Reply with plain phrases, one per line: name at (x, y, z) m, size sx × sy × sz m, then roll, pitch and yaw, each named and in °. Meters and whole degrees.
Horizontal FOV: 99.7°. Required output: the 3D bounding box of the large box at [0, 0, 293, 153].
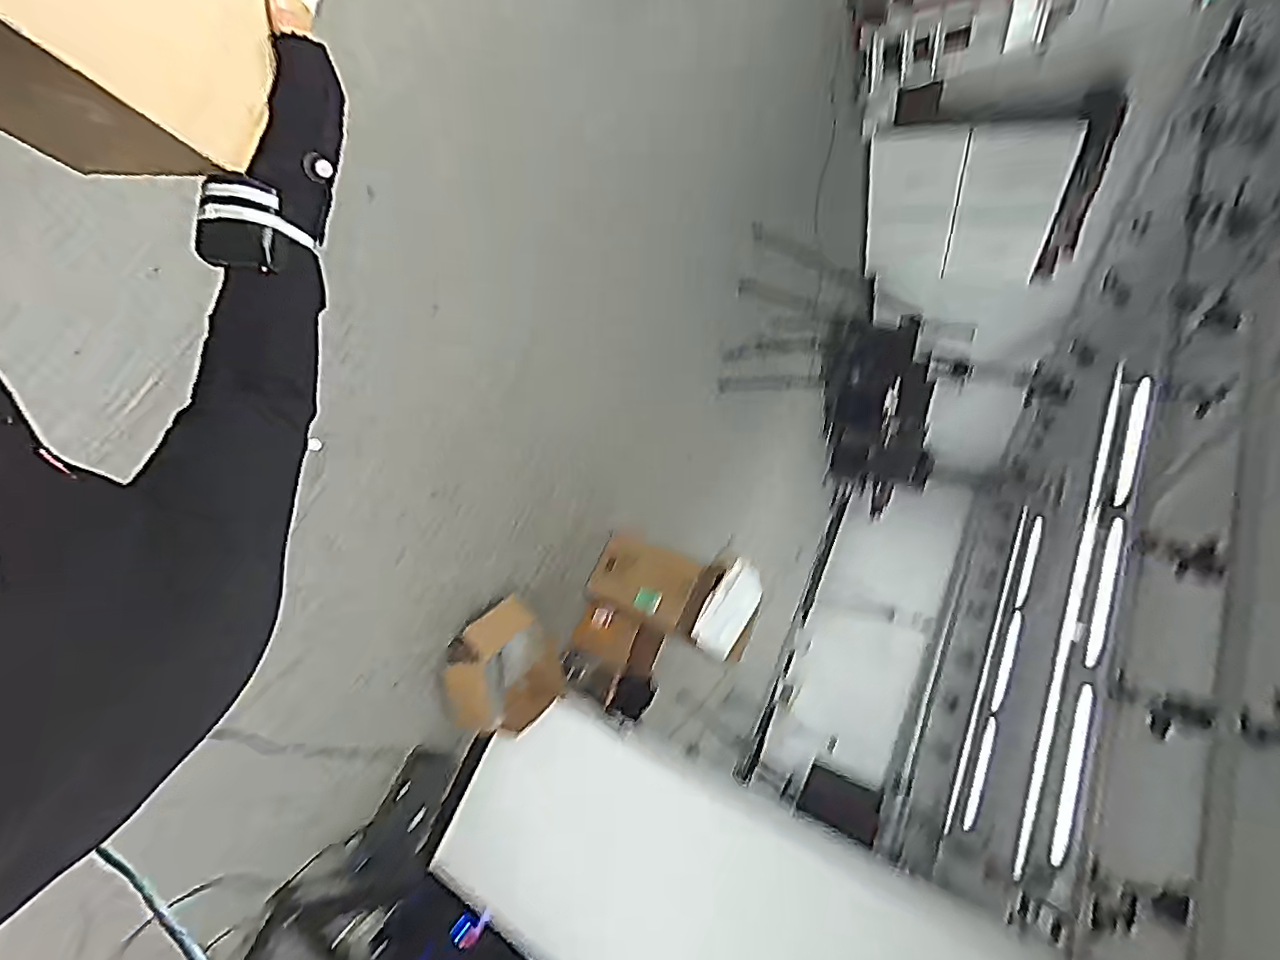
large box at (-0.481, -0.473, 0.320) m, size 0.408 × 0.320 × 0.320 m, roll 27°, pitch 82°, yaw -64°
